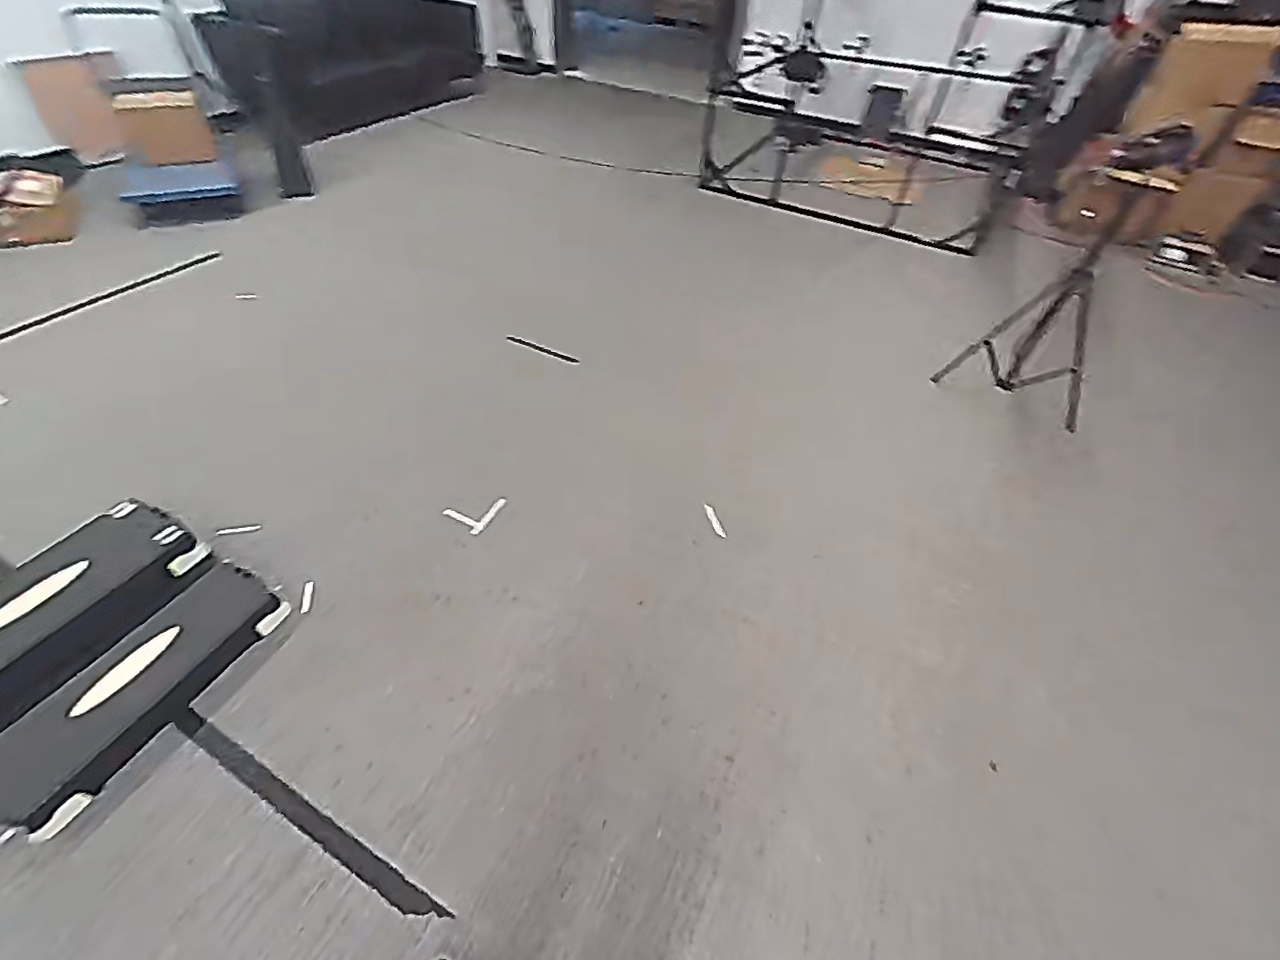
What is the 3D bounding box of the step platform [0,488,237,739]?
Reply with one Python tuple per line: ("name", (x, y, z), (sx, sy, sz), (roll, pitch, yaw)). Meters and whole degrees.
("step platform", (-1.522, 0.323, 1.469), (0.286, 0.204, 0.684), (23, 48, 15))
